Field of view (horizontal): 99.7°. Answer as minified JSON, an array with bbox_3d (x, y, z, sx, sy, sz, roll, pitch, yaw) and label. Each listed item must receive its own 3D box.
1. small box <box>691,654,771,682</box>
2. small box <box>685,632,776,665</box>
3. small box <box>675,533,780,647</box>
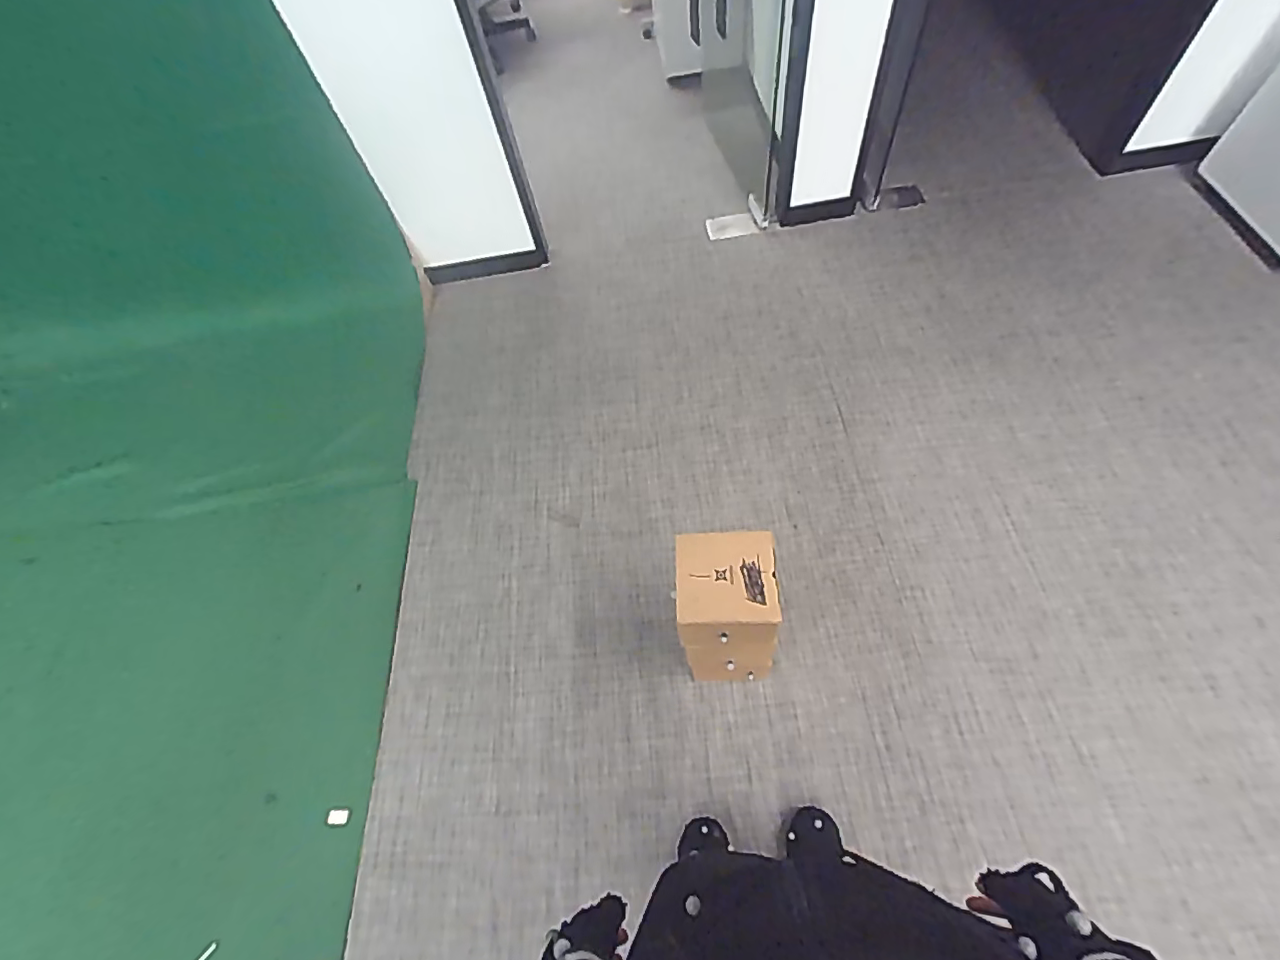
[{"bbox_3d":[0.207,0.377,1.287,0.179,0.176,0.168,-6,58,6],"label":"small box"},{"bbox_3d":[0.183,0.292,1.148,0.179,0.176,0.168,-3,59,6],"label":"small box"},{"bbox_3d":[0.159,0.208,1.009,0.179,0.176,0.168,-2,59,9],"label":"small box"}]
